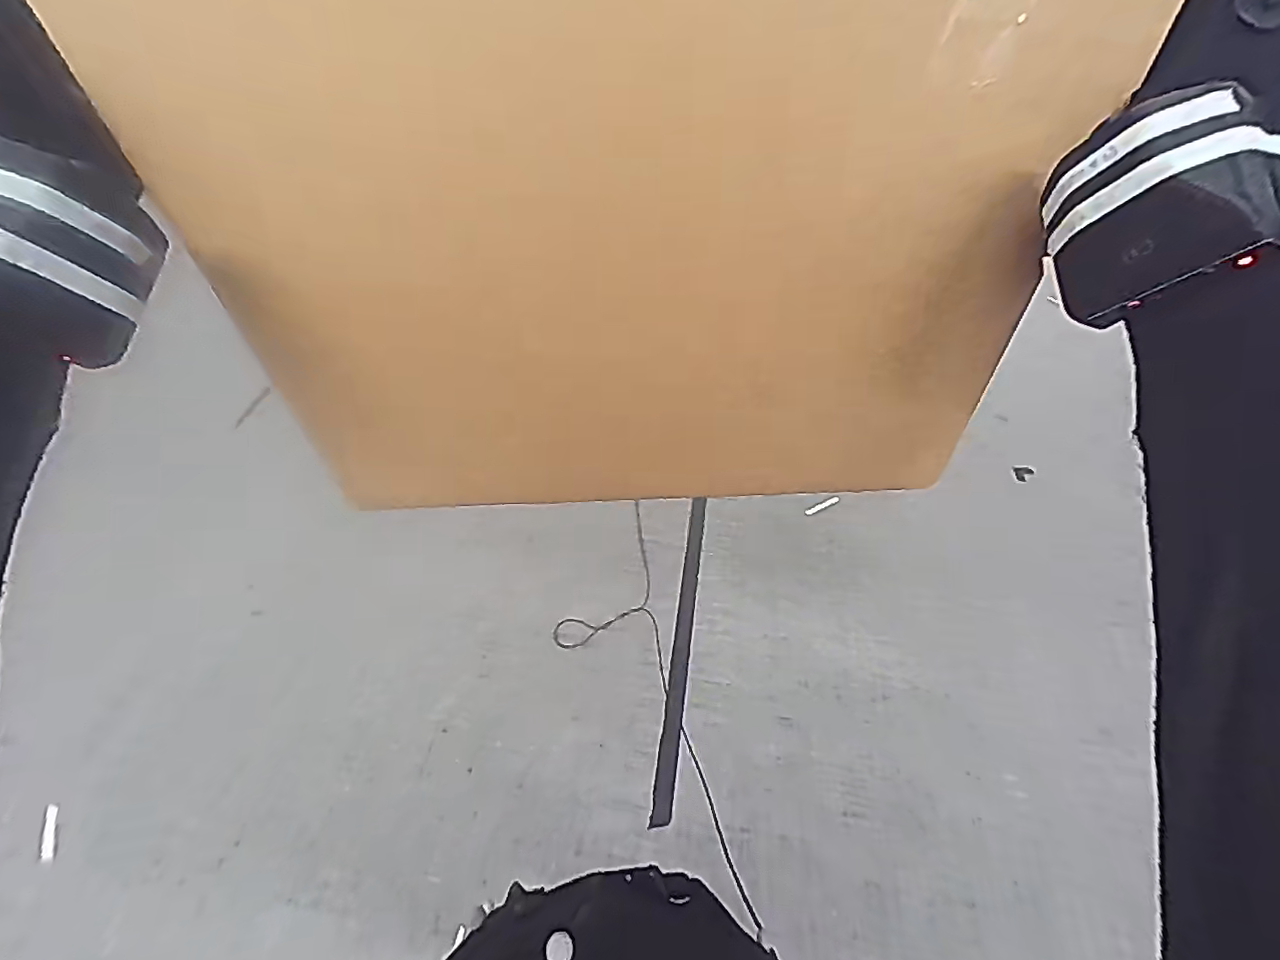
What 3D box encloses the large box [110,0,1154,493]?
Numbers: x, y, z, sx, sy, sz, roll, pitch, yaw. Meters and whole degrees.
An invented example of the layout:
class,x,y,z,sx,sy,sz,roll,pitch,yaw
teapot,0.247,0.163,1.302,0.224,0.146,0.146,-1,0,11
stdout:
class,x,y,z,sx,sy,sz,roll,pitch,yaw
large box,-0.002,-0.206,0.382,0.408,0.320,0.320,-1,46,0
